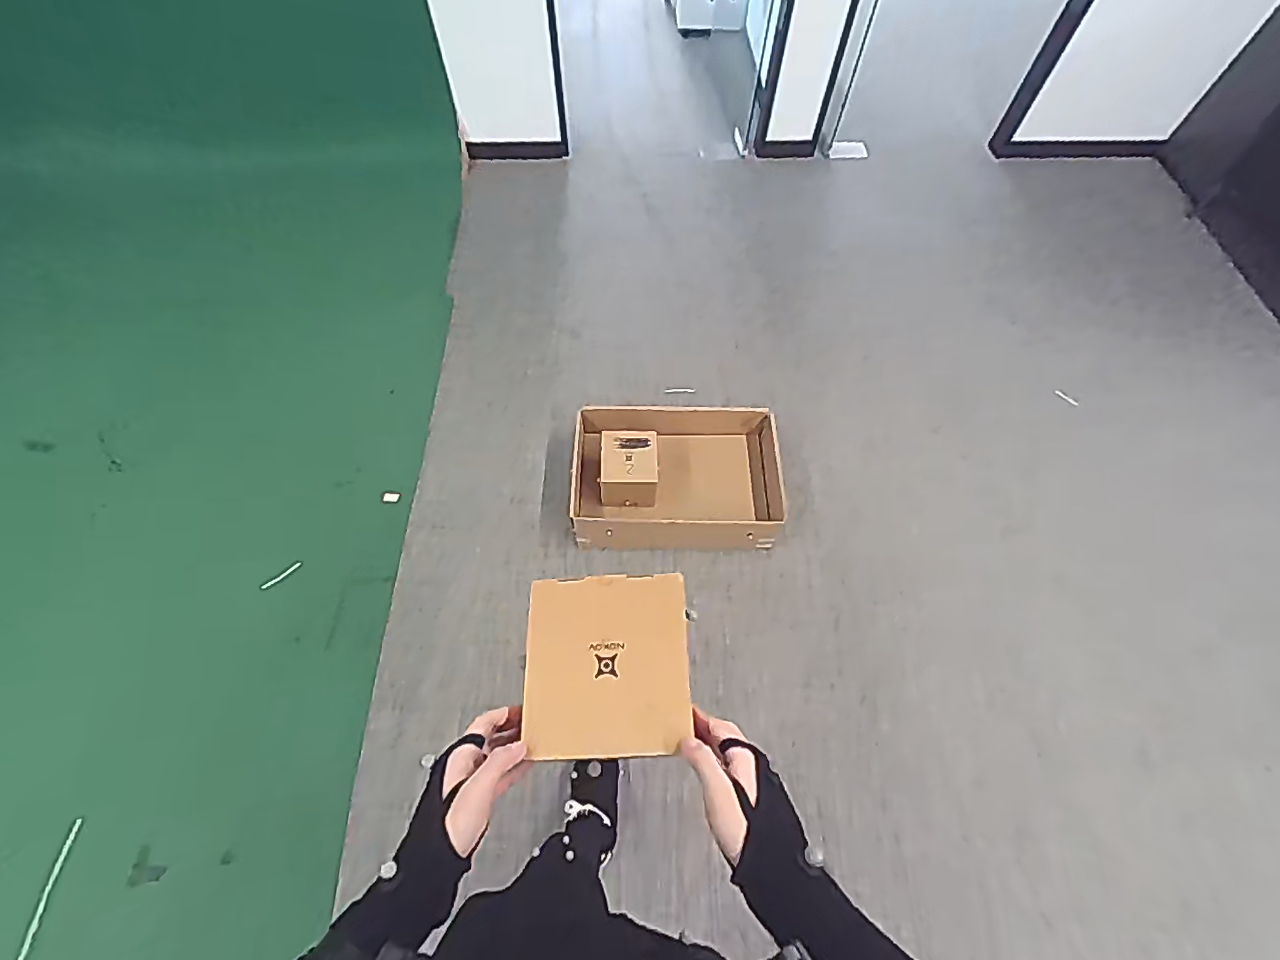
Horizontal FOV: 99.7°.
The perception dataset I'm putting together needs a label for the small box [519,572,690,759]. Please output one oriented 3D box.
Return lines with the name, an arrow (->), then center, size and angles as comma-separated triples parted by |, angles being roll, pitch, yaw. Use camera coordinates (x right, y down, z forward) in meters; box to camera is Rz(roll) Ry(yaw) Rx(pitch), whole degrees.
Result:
small box -> -0.030, 0.217, 0.614 | 0.168, 0.176, 0.179 | -4, 61, 2
